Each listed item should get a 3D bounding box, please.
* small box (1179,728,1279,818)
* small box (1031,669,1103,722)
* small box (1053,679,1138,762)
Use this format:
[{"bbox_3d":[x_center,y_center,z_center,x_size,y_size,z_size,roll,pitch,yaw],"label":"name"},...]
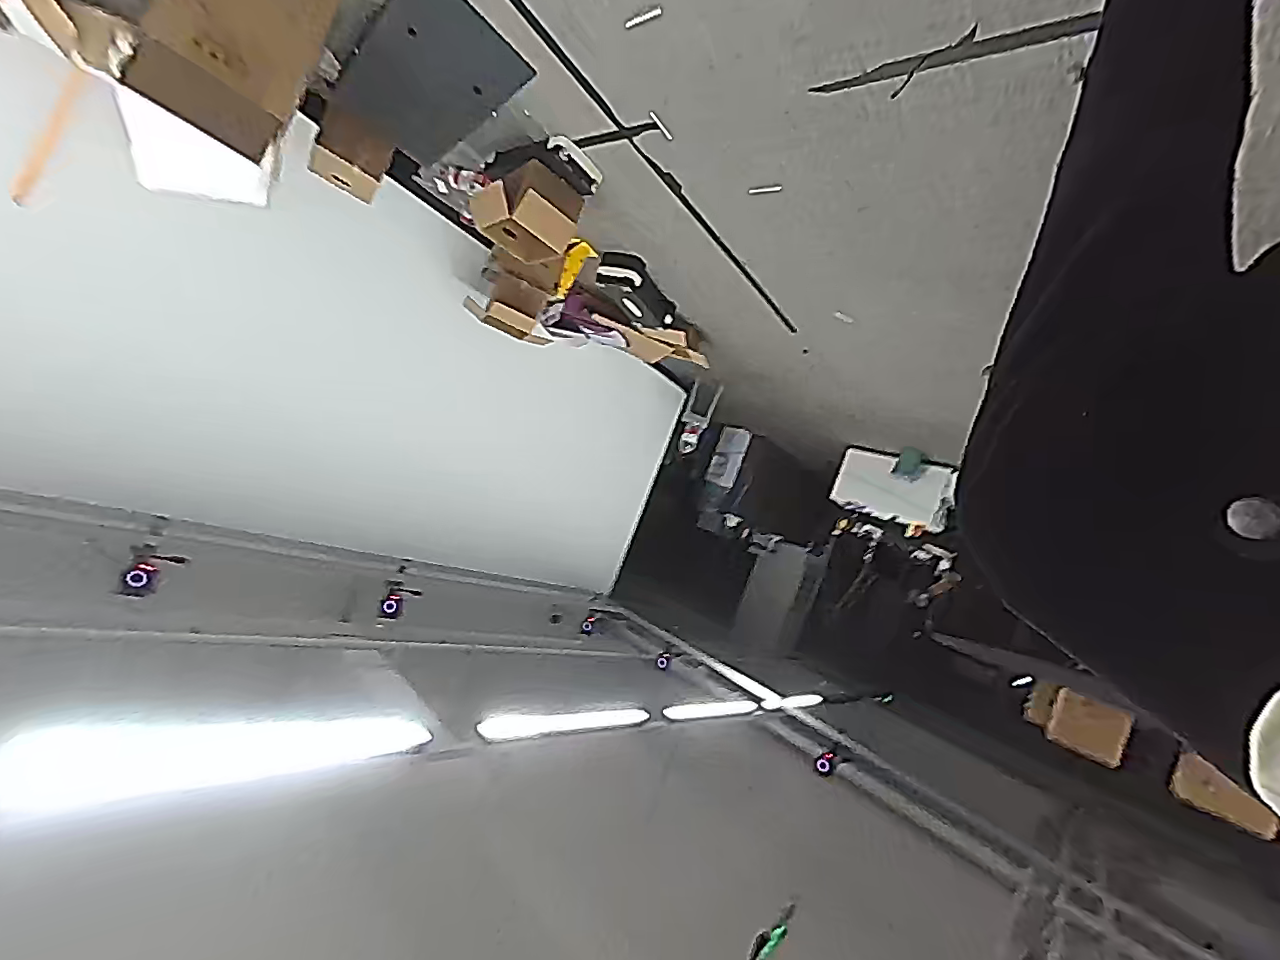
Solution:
[{"bbox_3d":[1.796,0.878,1.641,0.179,0.176,0.168,19,177,40],"label":"small box"},{"bbox_3d":[1.509,0.781,1.904,0.168,0.176,0.179,21,178,43],"label":"small box"},{"bbox_3d":[1.425,0.744,1.696,0.168,0.176,0.179,18,178,38],"label":"small box"}]
